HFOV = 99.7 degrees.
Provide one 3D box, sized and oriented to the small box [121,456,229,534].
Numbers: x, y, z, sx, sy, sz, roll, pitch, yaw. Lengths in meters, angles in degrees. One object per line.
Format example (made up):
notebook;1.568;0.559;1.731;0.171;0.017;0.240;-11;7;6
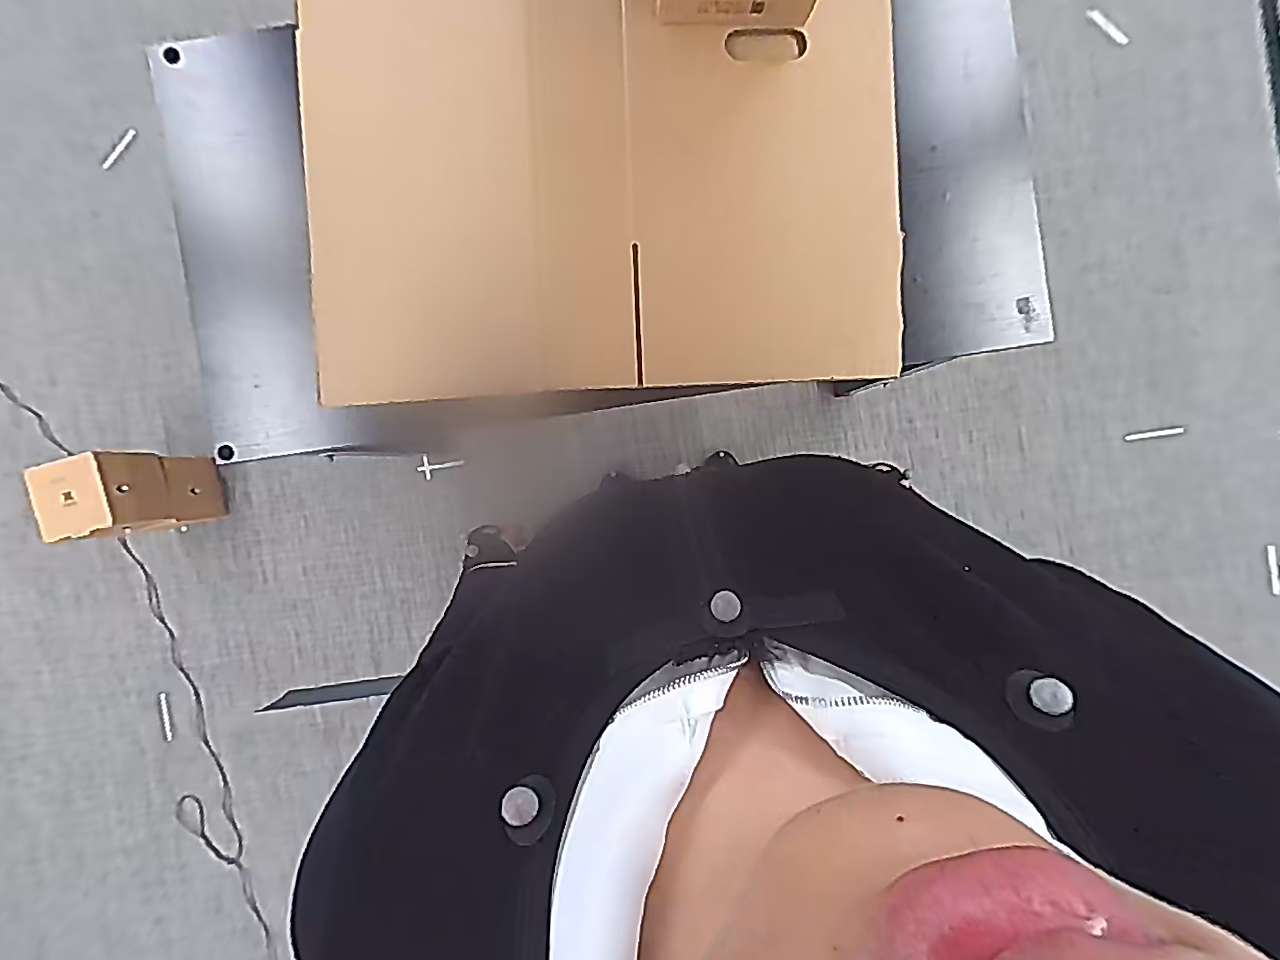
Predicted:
small box;-1.263;0.038;1.456;0.168;0.176;0.179;-12;92;2

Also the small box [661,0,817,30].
small box;0.105;-0.578;0.505;0.168;0.176;0.179;-1;90;-2

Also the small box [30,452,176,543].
small box;-1.269;0.037;1.294;0.168;0.176;0.179;-15;90;1
